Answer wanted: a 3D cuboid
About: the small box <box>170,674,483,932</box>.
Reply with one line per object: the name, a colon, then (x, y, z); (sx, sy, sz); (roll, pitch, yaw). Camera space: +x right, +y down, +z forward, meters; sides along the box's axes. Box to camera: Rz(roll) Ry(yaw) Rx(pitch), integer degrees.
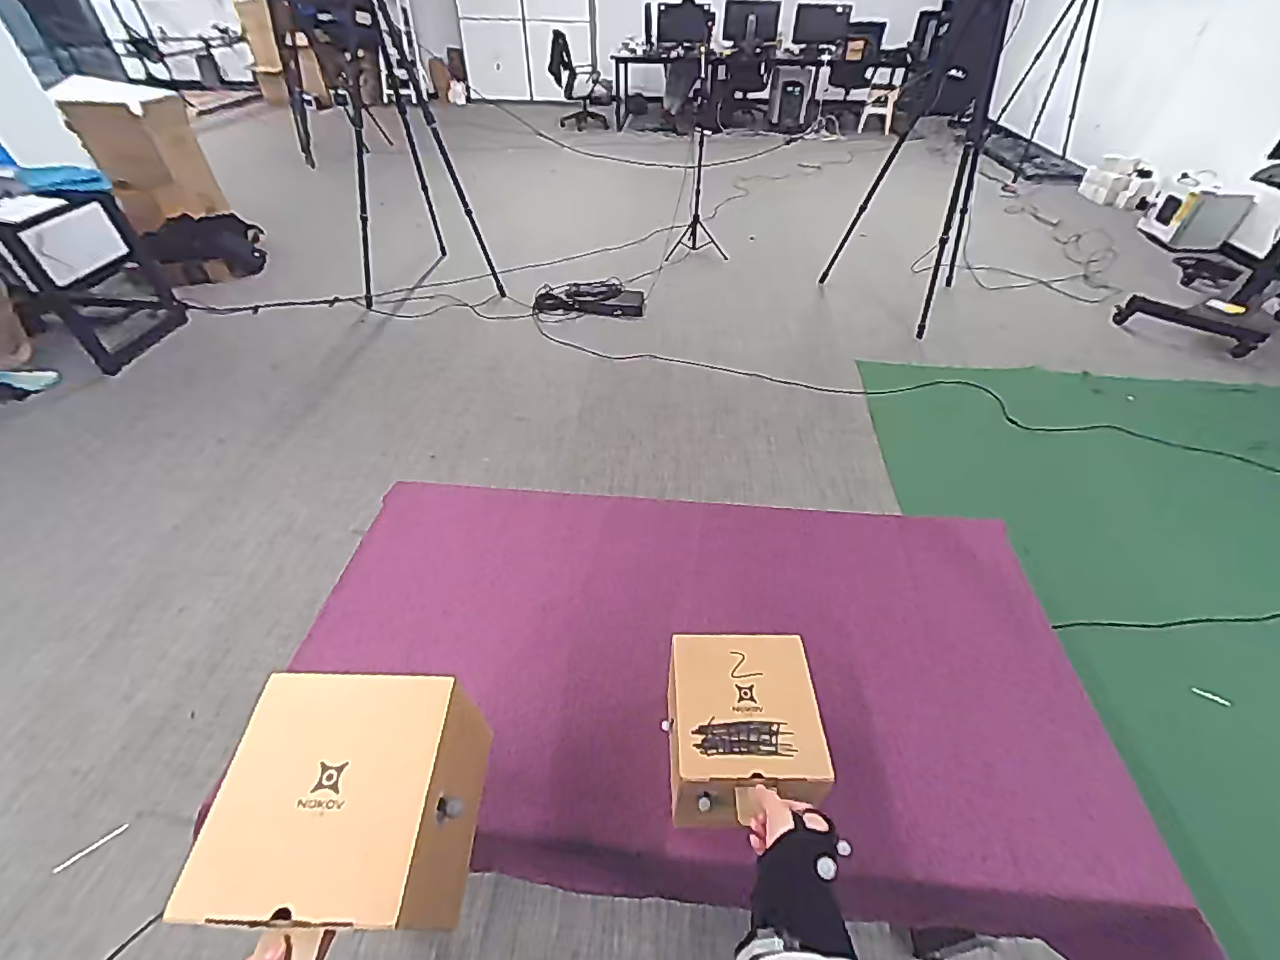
small box: (-0.252, 0.296, 0.495); (0.168, 0.176, 0.179); (2, 51, 0)
